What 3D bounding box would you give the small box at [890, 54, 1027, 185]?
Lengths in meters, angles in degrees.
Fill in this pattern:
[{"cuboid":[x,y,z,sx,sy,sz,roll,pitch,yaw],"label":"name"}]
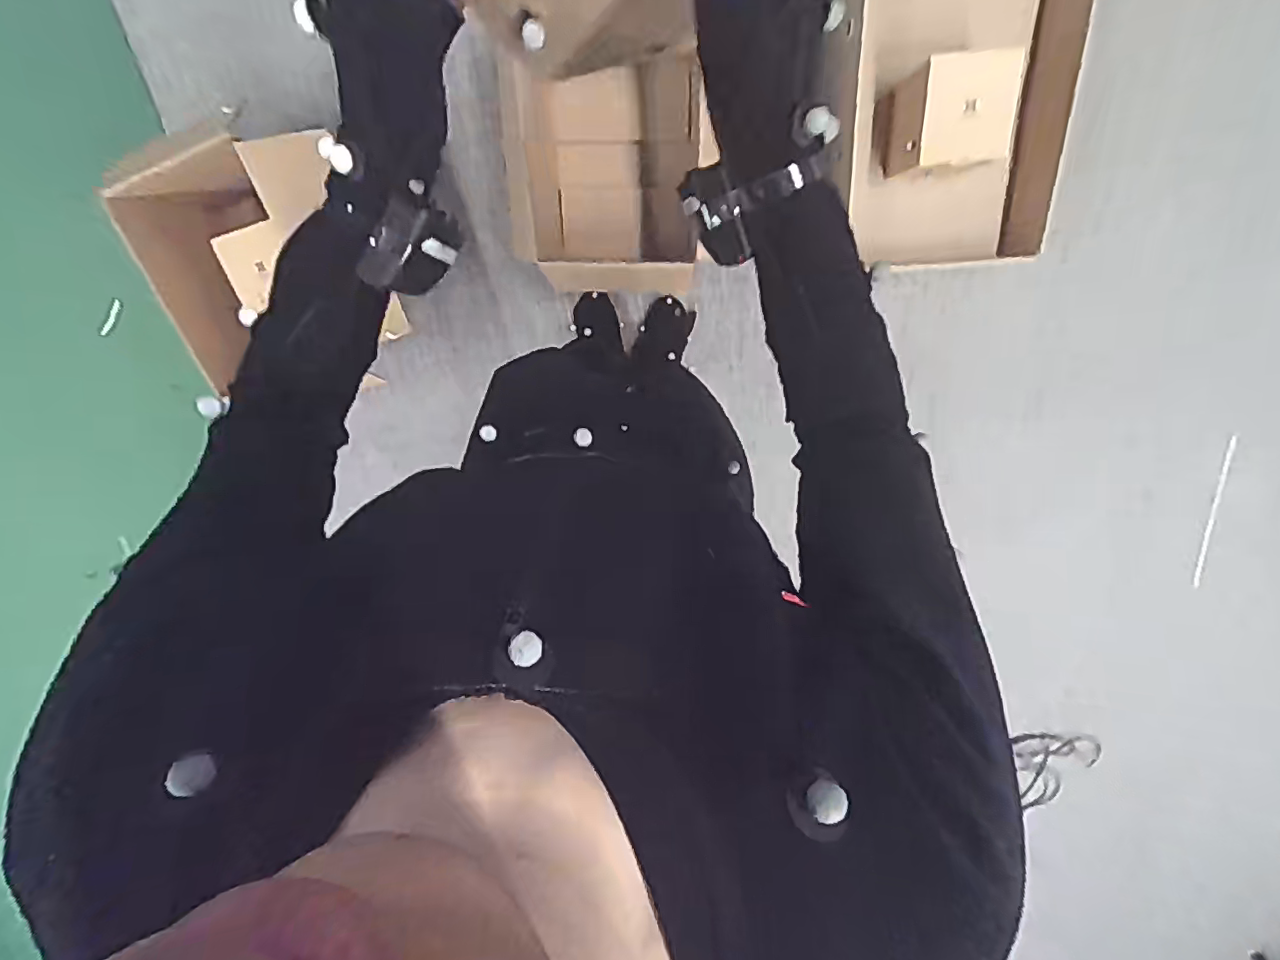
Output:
[{"cuboid":[0.609,-0.695,1.060,0.168,0.176,0.179,-3,111,4],"label":"small box"}]
